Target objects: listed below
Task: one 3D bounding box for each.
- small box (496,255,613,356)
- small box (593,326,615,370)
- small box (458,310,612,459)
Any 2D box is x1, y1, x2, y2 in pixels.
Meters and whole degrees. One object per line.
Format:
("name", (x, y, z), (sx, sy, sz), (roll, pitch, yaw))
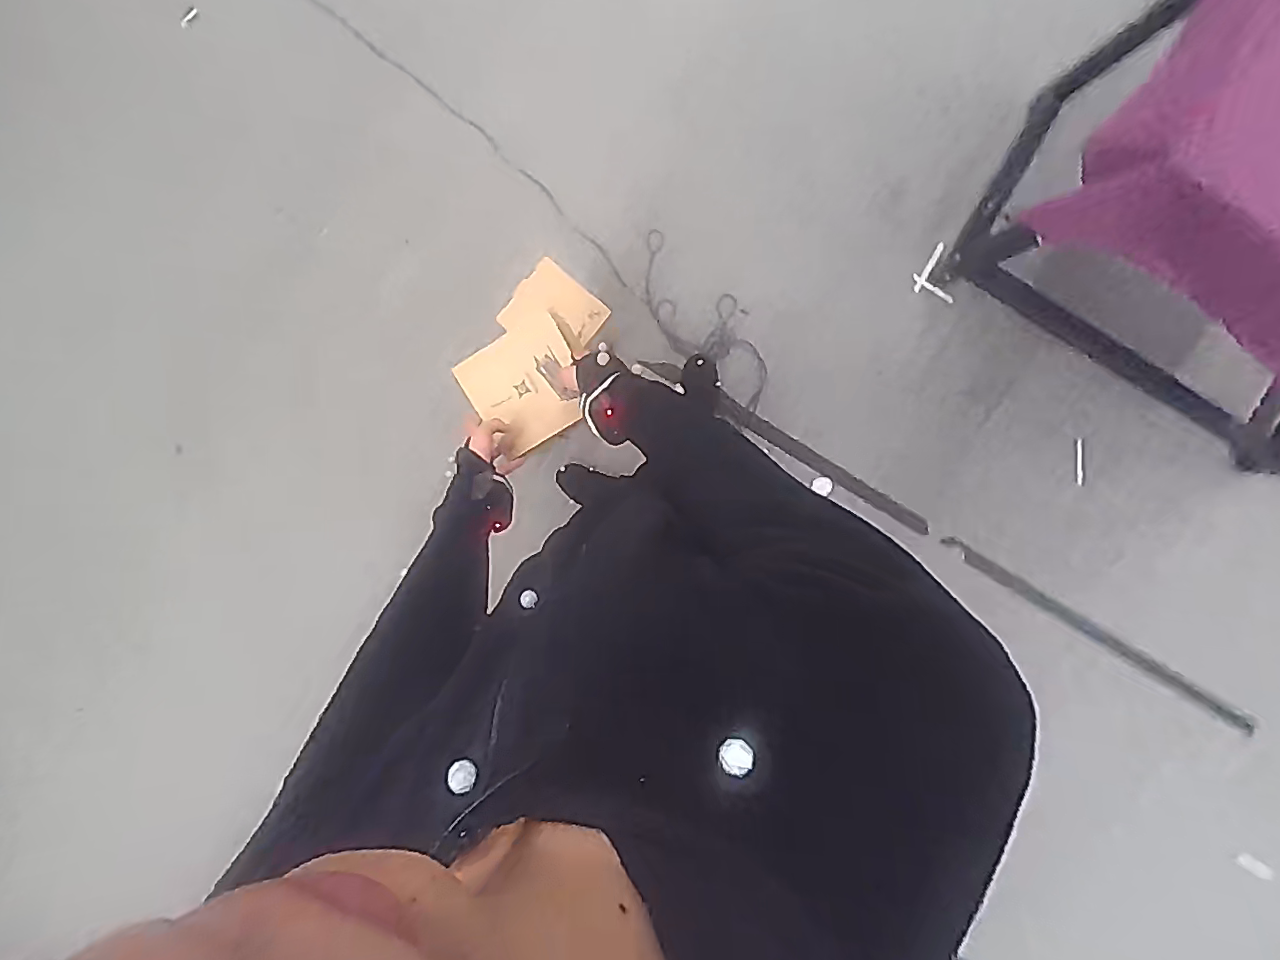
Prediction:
("small box", (-0.175, -0.342, 1.167), (0.179, 0.176, 0.168), (40, 95, -4))
("small box", (-0.182, -0.384, 1.490), (0.179, 0.176, 0.168), (30, 96, -5))
("small box", (-0.157, -0.153, 0.886), (0.179, 0.176, 0.168), (-29, 95, 7))
